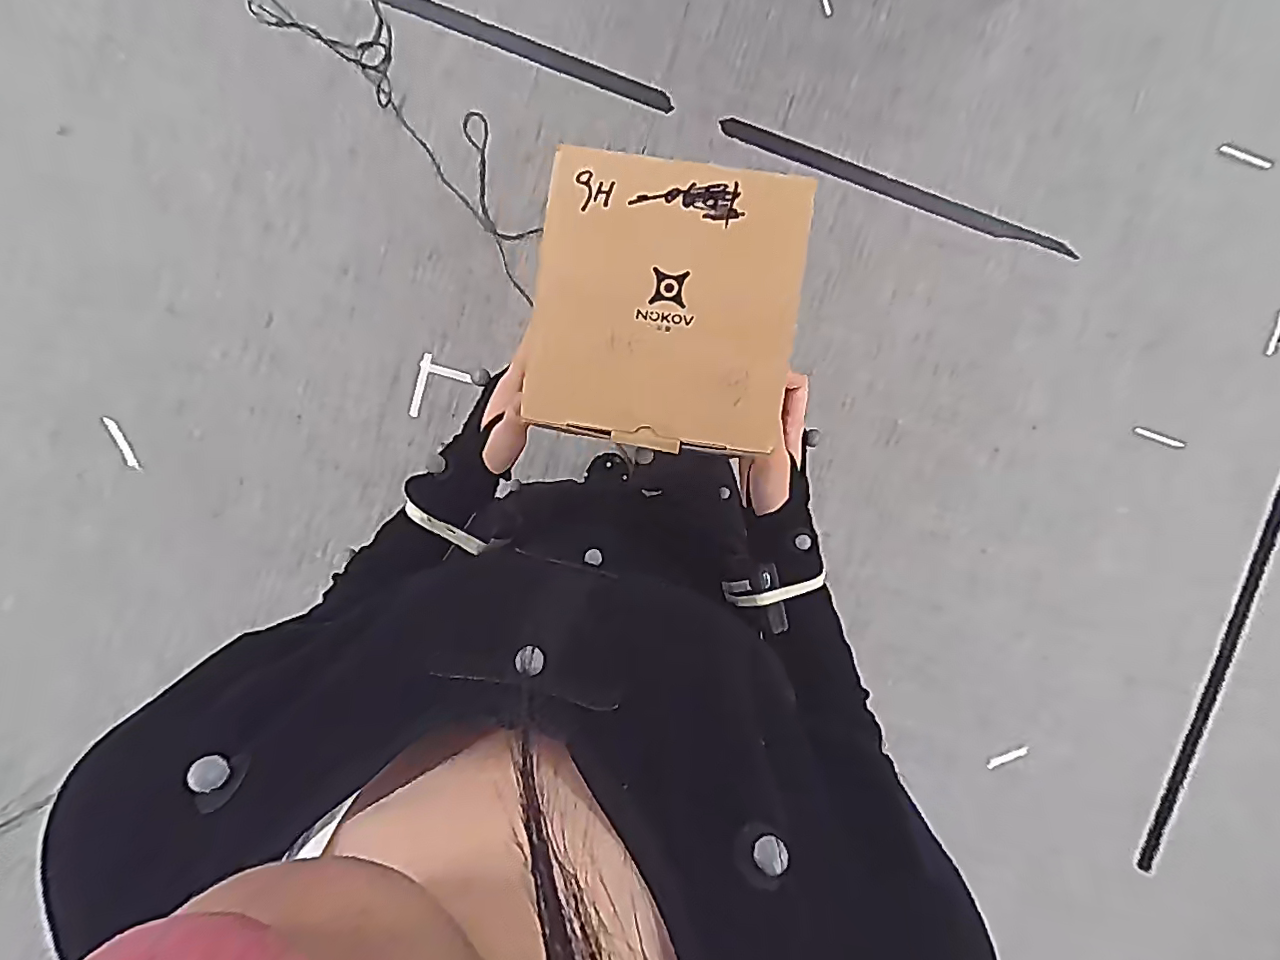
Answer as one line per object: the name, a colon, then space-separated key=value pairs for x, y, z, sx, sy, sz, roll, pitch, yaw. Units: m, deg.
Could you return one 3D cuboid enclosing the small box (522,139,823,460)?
small box: x=0.020 y=-0.115 z=0.412 sx=0.168 sy=0.176 sz=0.179 roll=8 pitch=93 yaw=0
